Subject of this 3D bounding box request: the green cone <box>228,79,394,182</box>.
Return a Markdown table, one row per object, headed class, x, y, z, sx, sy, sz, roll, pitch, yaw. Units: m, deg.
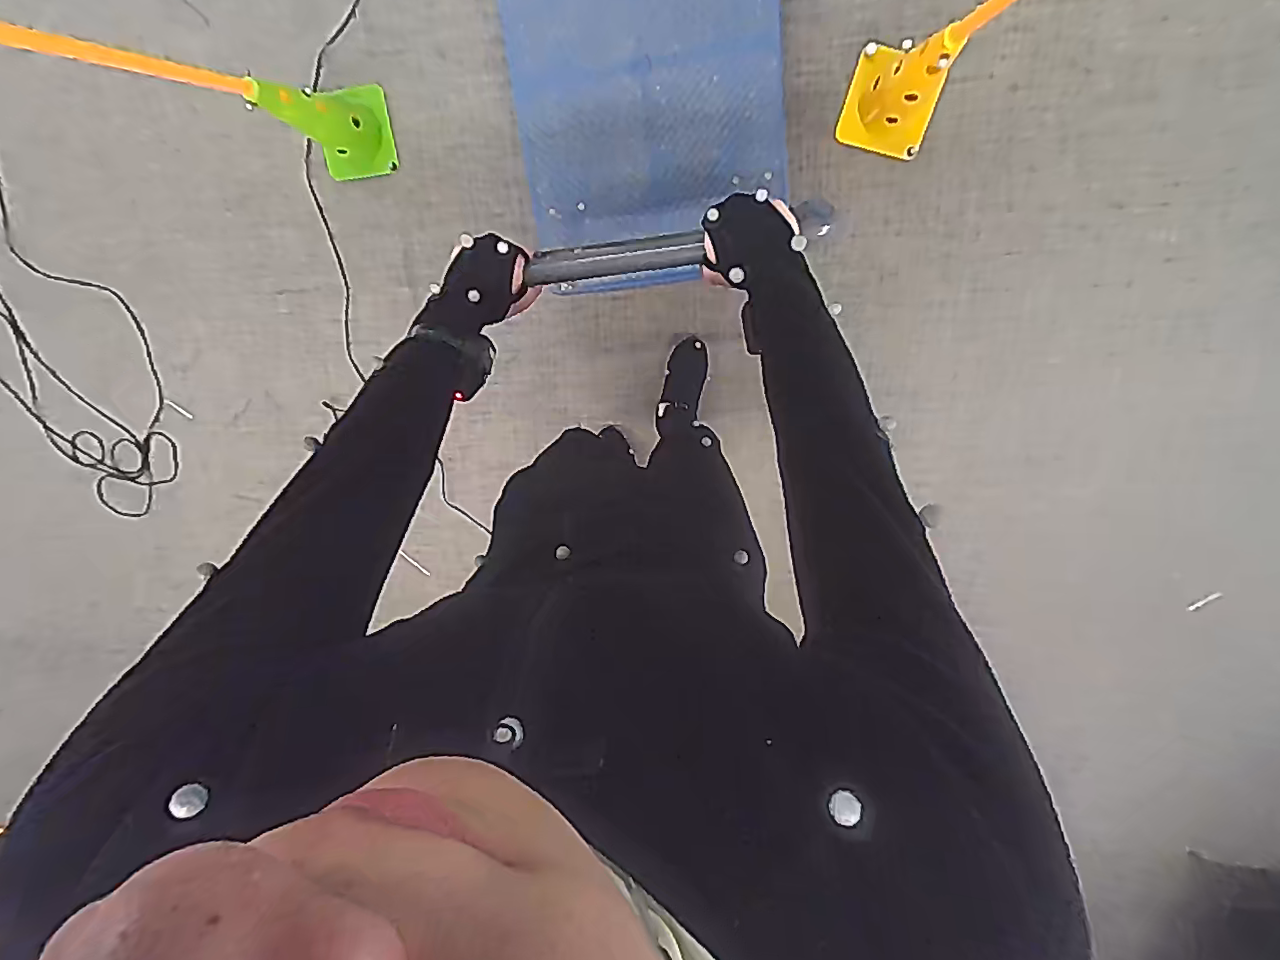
| class | x | y | z | sx | sy | sz | roll | pitch | yaw |
| --- | --- | --- | --- | --- | --- | --- | --- | --- | --- |
| green cone | -0.773 | -0.842 | 1.245 | 0.202 | 0.368 | 0.200 | -3 | 108 | 10 |
